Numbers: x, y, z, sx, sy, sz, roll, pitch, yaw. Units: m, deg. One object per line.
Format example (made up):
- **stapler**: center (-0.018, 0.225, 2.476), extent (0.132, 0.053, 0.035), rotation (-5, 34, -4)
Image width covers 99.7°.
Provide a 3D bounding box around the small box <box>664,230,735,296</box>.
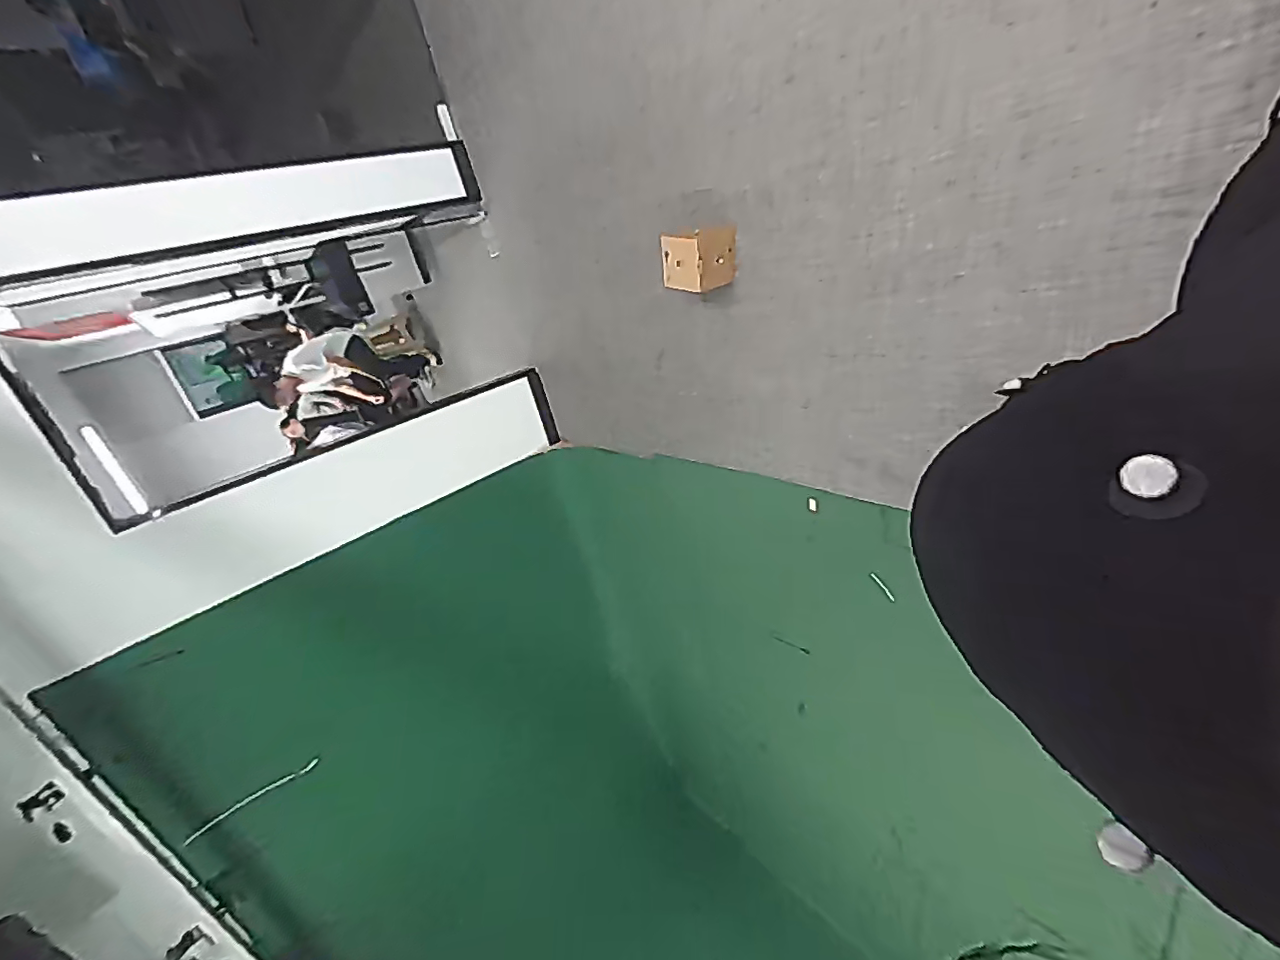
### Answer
- **small box**: center (0.205, -0.734, 1.815), extent (0.179, 0.176, 0.168), rotation (29, 137, 41)
